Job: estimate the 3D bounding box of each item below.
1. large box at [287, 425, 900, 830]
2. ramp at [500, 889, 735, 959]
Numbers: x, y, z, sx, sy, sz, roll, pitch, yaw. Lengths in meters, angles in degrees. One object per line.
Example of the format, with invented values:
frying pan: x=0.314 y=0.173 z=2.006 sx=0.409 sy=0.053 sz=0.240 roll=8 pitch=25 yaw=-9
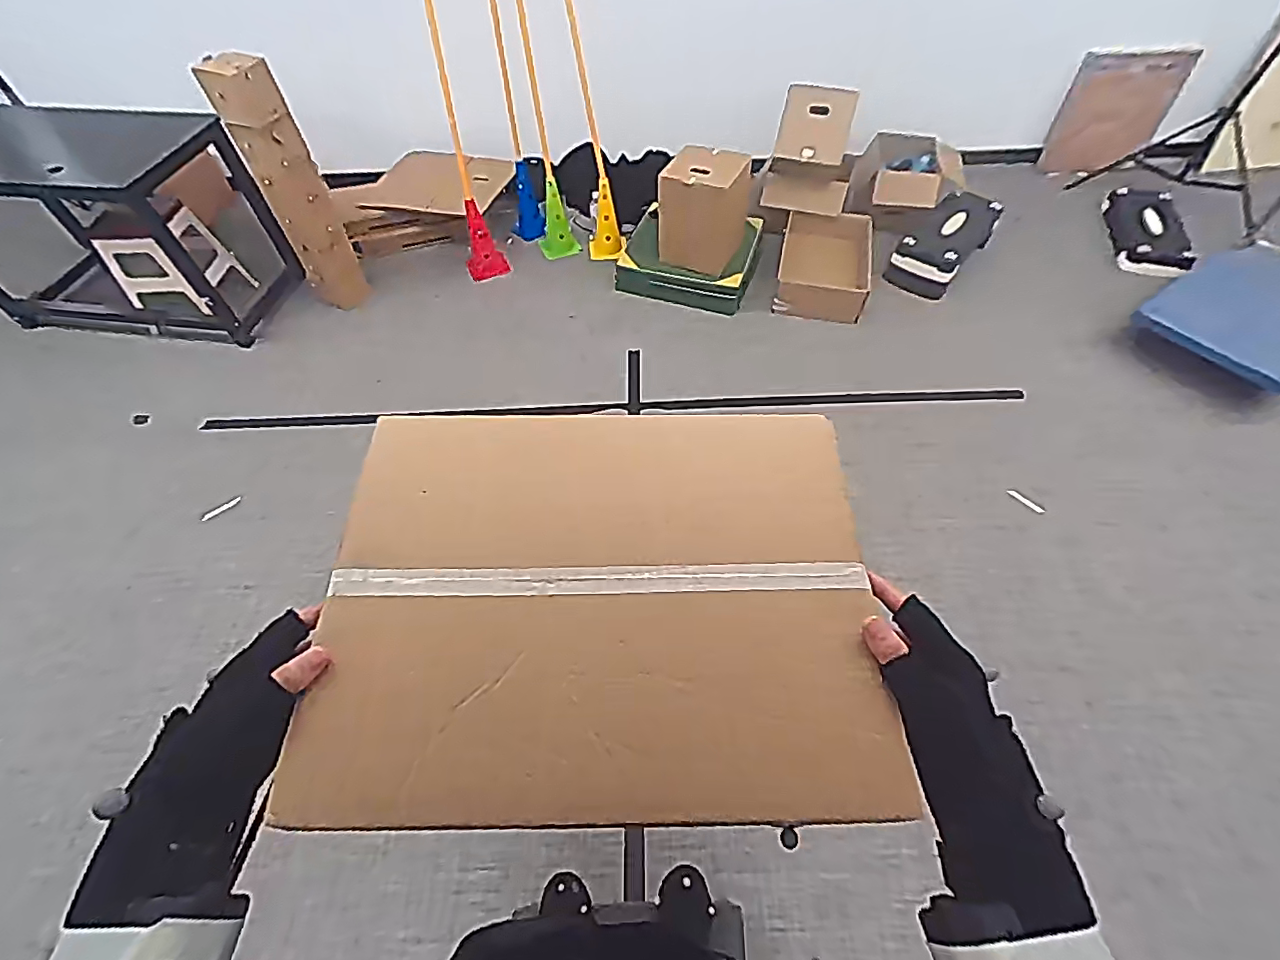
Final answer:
large box: x=-0.031 y=0.157 z=0.549 sx=0.408 sy=0.320 sz=0.320 roll=0 pitch=59 yaw=-1
ramp: x=-0.037 y=1.344 z=0.957 sx=0.509 sy=0.206 sz=0.991 roll=-2 pitch=55 yaw=-2
